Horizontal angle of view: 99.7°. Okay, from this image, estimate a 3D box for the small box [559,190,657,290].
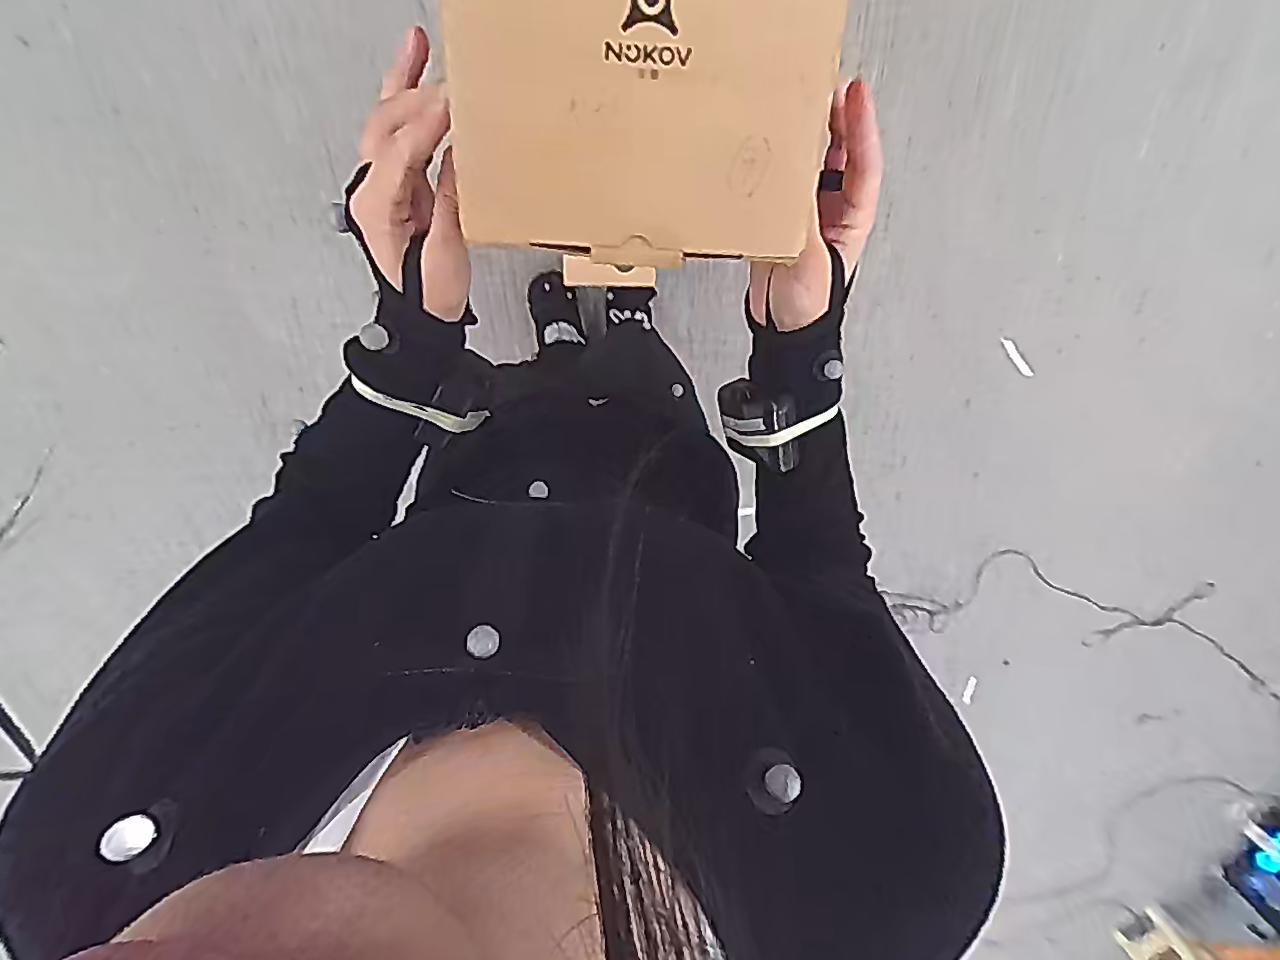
[{"bbox_3d":[-0.064,-0.472,1.062,0.179,0.176,0.168,-1,117,-5],"label":"small box"}]
